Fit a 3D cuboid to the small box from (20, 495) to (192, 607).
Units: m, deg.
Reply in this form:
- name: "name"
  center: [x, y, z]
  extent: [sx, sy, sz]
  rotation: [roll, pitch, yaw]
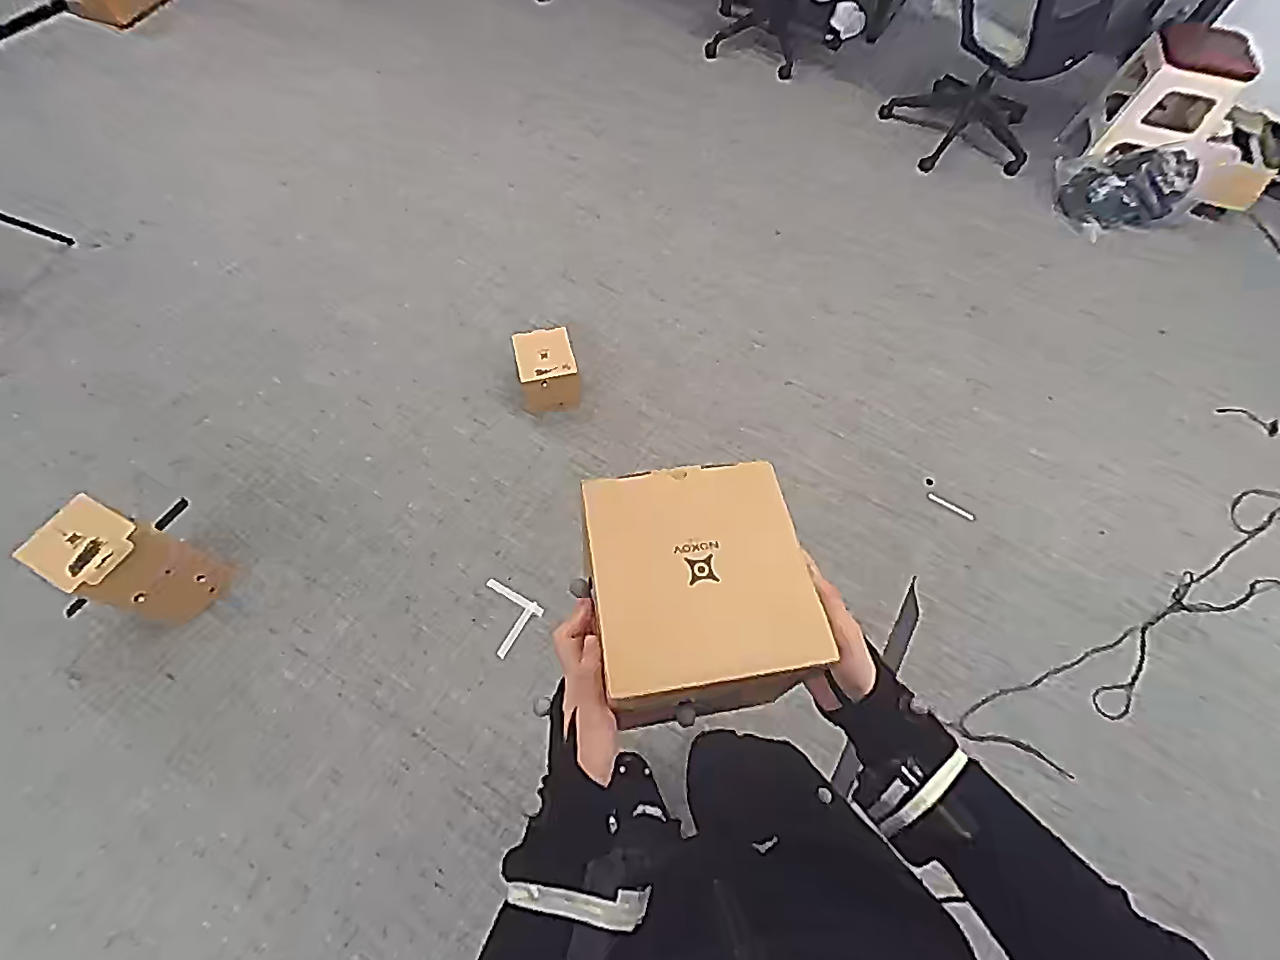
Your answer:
- name: "small box"
  center: [-1.163, 0.165, 1.197]
  extent: [0.179, 0.176, 0.168]
  rotation: [26, 66, 10]

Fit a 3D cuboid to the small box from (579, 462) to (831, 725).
- name: "small box"
  center: [0.040, 0.108, 0.480]
  extent: [0.168, 0.176, 0.179]
  rotation: [-6, 57, -8]

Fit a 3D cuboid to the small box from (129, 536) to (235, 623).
- name: "small box"
  center: [-1.173, 0.240, 1.343]
  extent: [0.179, 0.176, 0.168]
  rotation: [25, 65, 10]

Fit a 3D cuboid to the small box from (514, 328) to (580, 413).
- name: "small box"
  center: [-0.283, -0.333, 1.653]
  extent: [0.168, 0.176, 0.179]
  rotation: [-12, 66, -9]
